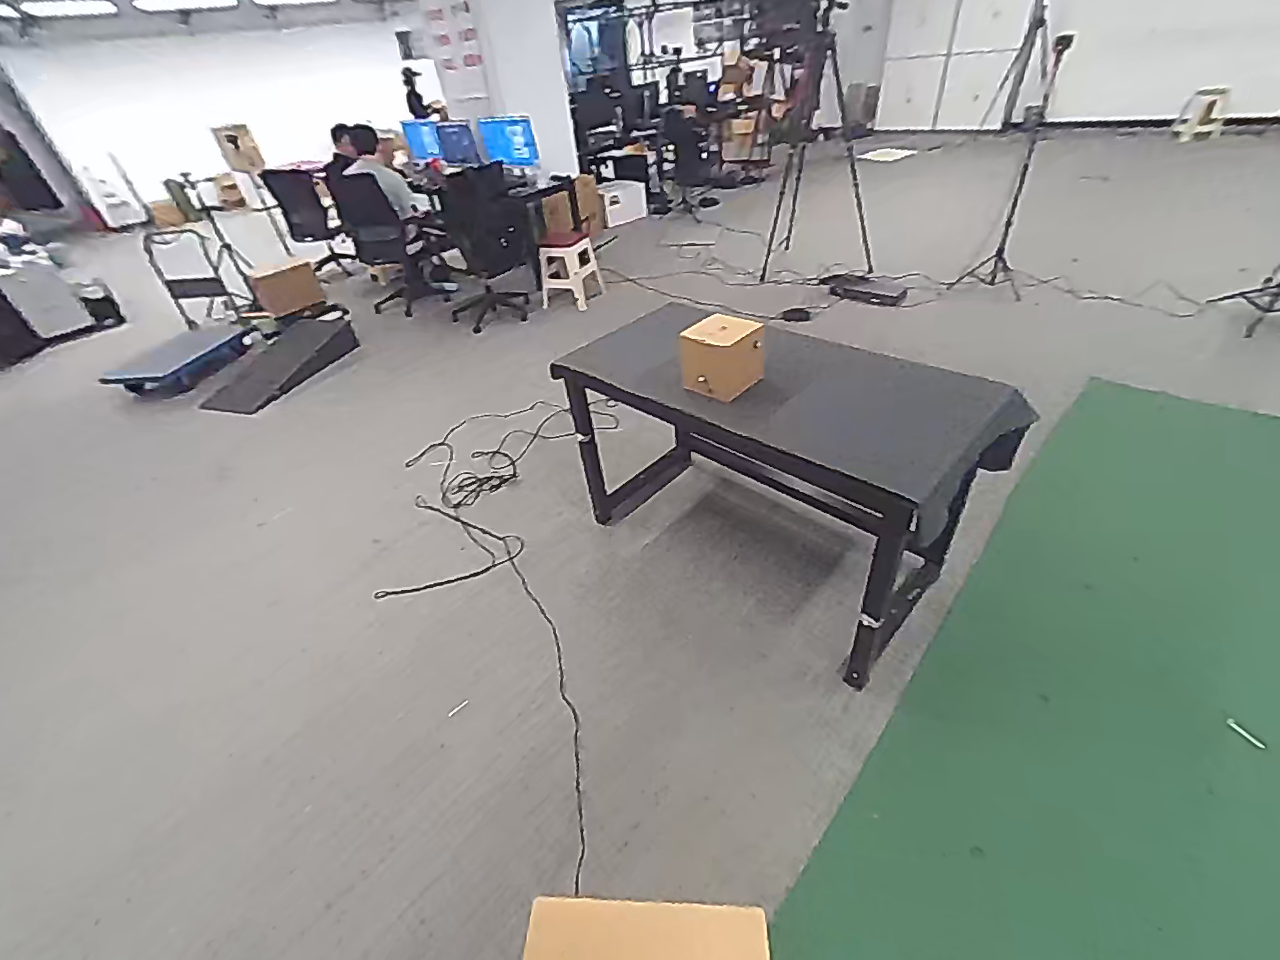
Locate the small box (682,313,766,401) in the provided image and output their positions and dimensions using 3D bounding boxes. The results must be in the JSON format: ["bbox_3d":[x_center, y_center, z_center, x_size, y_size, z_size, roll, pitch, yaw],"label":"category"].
[{"bbox_3d":[0.236,-0.350,1.531,0.168,0.176,0.179,26,49,36],"label":"small box"}]
